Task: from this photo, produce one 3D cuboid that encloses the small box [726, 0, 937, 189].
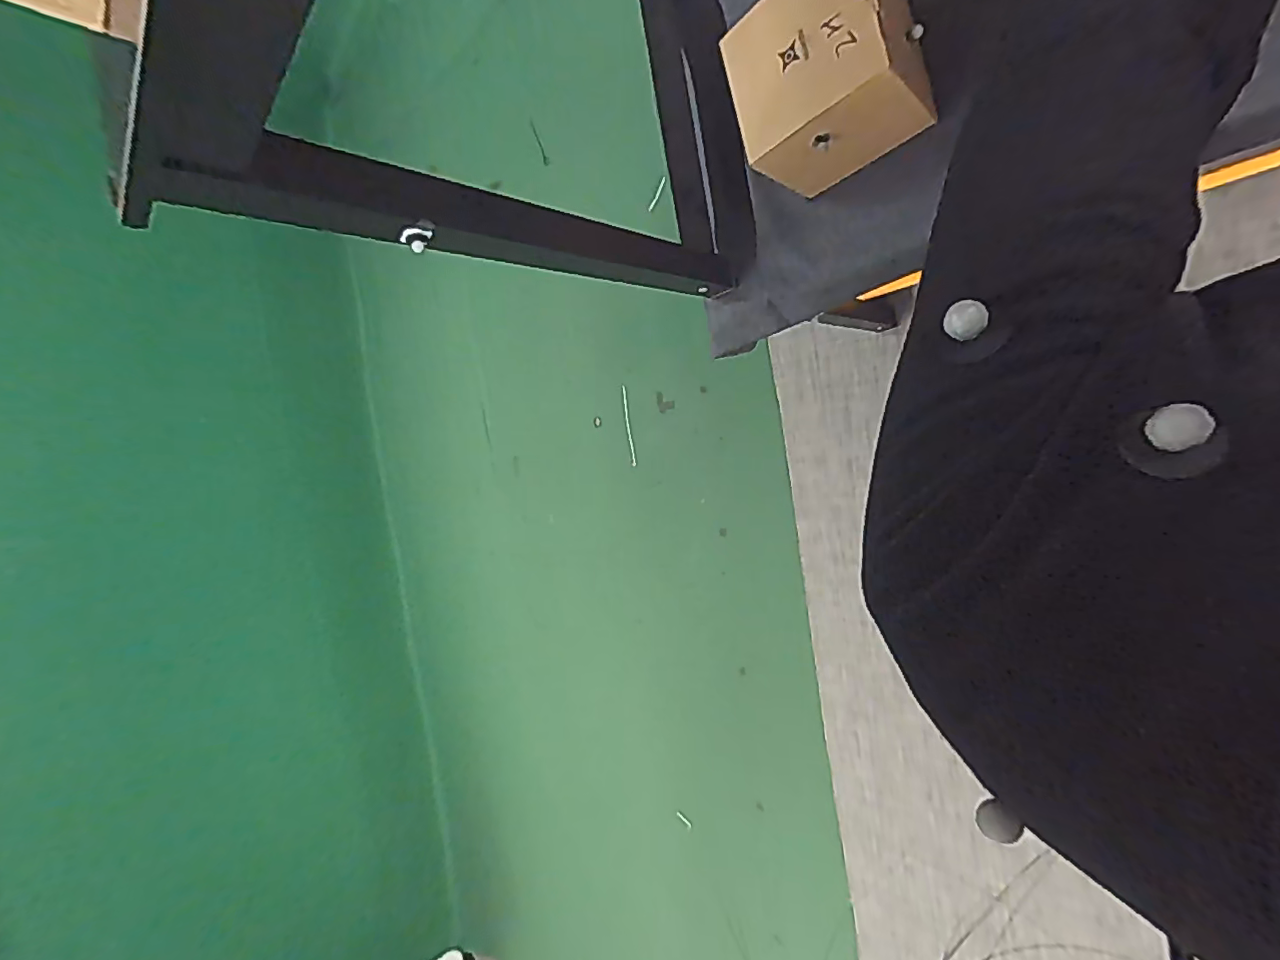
[{"bbox_3d":[0.239,-0.499,0.674,0.179,0.176,0.168,-15,88,44],"label":"small box"}]
